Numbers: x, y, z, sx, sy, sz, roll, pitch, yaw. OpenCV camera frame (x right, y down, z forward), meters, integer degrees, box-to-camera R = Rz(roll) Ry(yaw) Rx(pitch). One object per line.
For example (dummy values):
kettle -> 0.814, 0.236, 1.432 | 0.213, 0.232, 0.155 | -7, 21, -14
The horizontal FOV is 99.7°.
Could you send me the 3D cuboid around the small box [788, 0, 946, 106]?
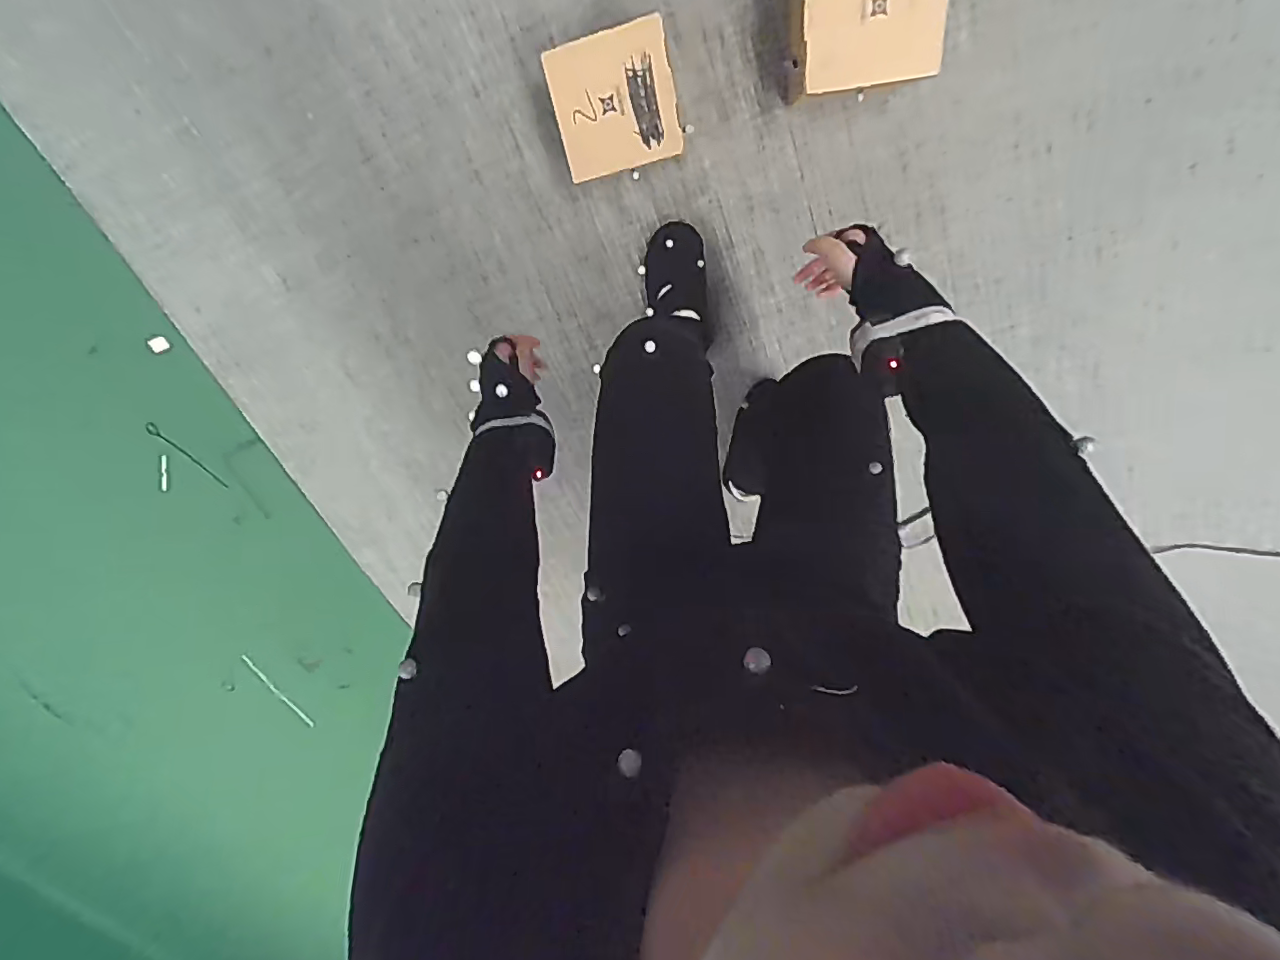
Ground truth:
small box -> 0.304, -0.636, 0.752 | 0.179, 0.176, 0.168 | -3, 120, 8
